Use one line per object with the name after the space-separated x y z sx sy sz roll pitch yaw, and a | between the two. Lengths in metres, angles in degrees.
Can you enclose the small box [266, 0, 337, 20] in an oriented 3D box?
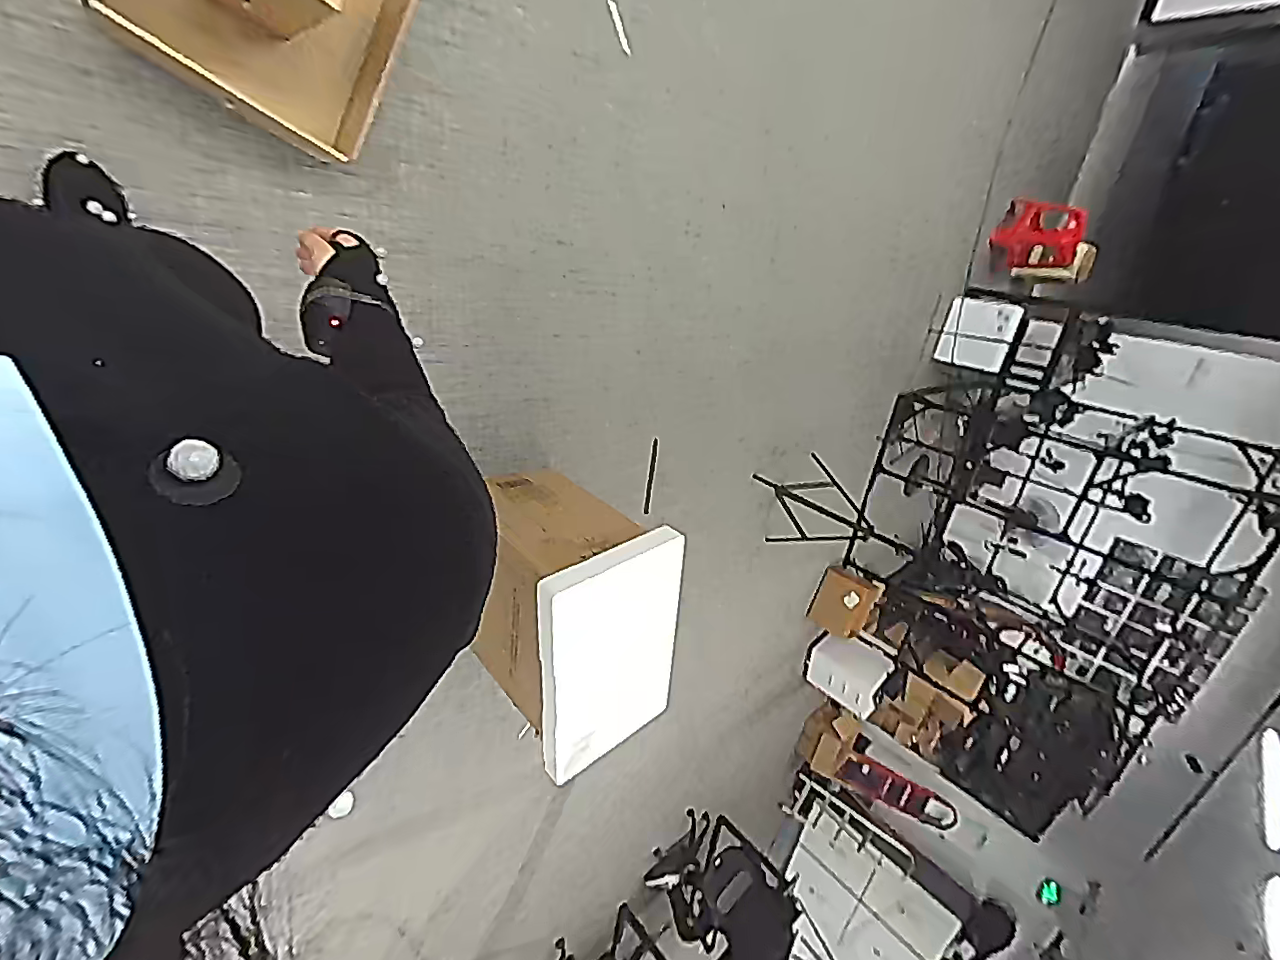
-0.549 -0.836 0.802 0.179 0.176 0.168 10 102 -50 | small box
